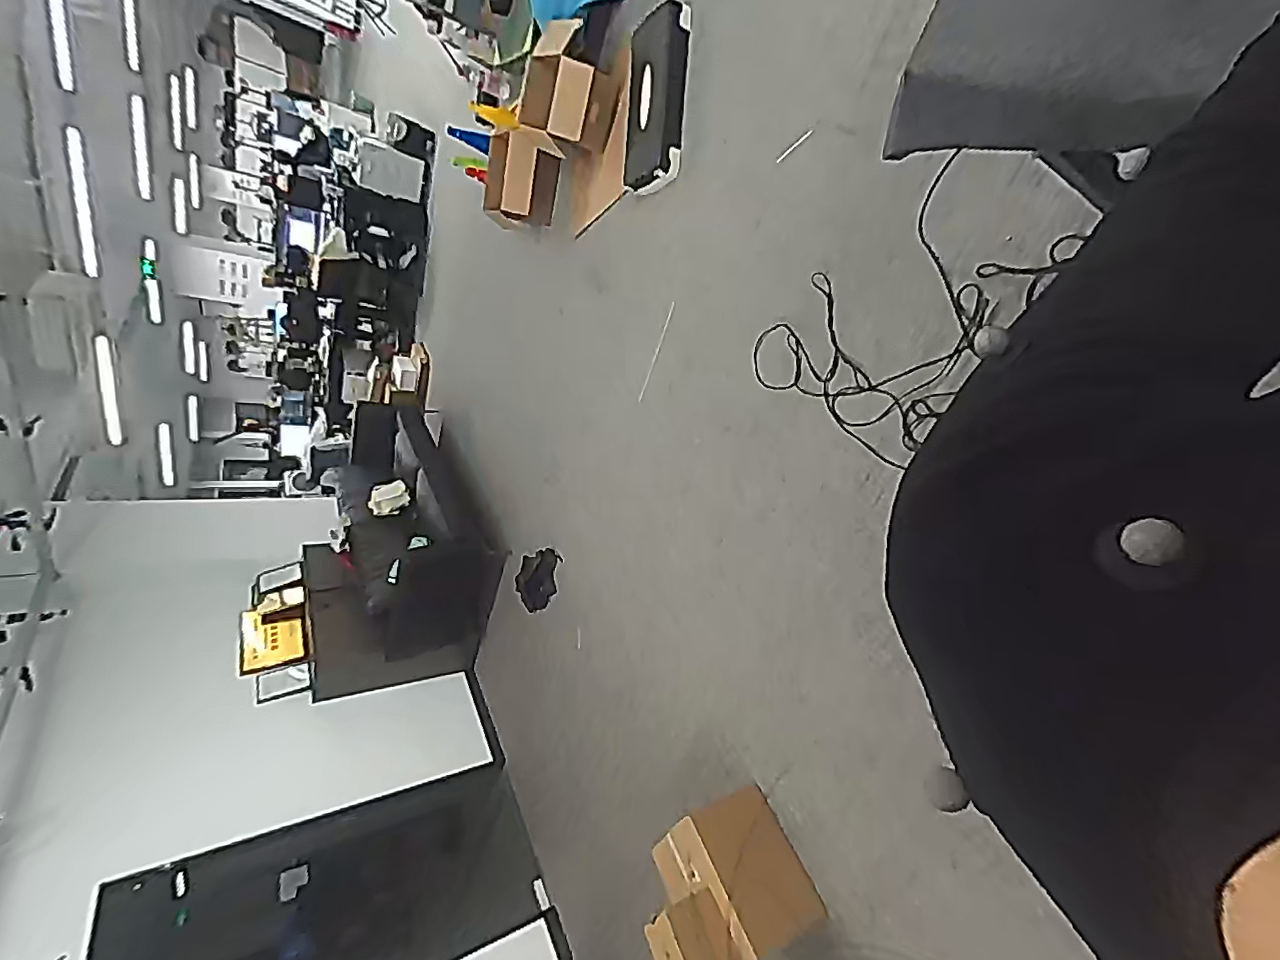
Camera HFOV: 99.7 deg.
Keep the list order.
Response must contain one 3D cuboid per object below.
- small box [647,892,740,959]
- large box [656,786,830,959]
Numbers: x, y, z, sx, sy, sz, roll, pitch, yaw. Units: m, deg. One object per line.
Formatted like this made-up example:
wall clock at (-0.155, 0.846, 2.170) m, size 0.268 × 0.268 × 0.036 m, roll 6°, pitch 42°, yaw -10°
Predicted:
small box at (0.152, 1.329, 1.555) m, size 0.179 × 0.176 × 0.168 m, roll 55°, pitch 133°, yaw 38°
large box at (0.317, 1.295, 1.743) m, size 0.408 × 0.320 × 0.320 m, roll 57°, pitch 133°, yaw 39°
